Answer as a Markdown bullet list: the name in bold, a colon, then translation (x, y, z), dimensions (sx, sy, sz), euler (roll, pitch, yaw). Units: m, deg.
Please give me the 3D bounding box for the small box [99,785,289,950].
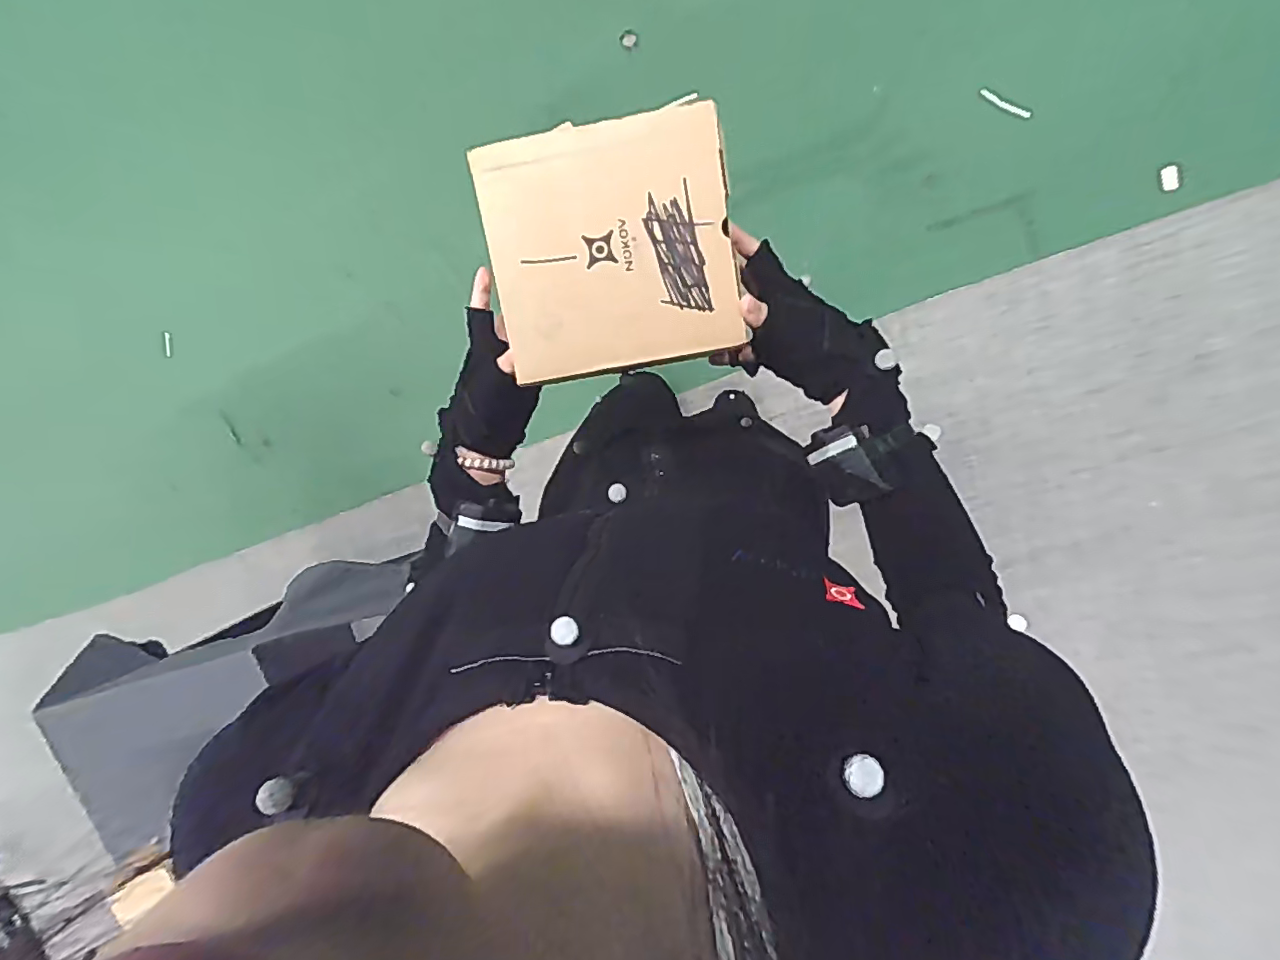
- **small box**: translation (-0.792, 0.692, 0.978), dimensions (0.179, 0.176, 0.168), euler (-21, 99, 15)
